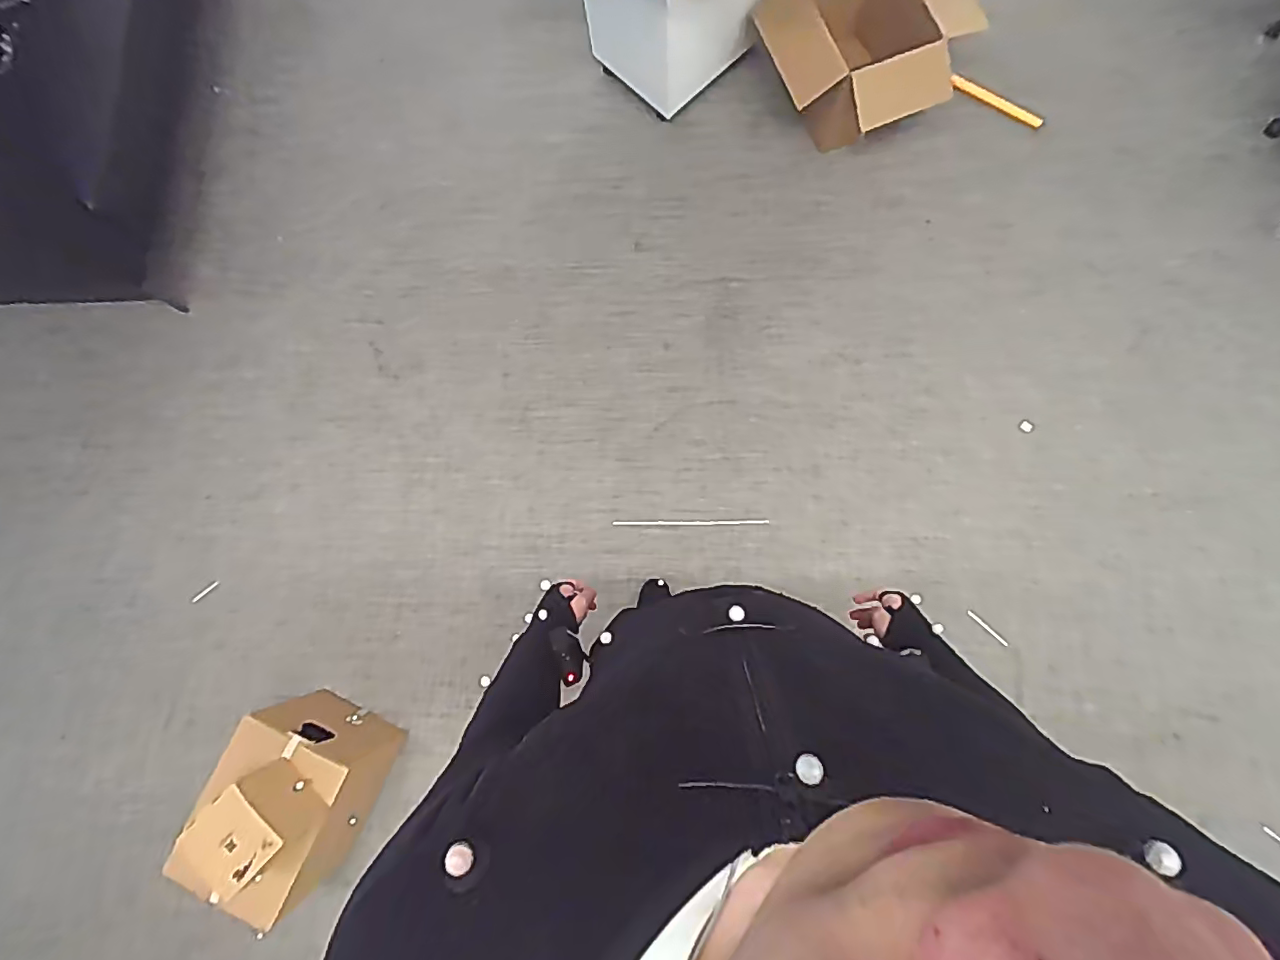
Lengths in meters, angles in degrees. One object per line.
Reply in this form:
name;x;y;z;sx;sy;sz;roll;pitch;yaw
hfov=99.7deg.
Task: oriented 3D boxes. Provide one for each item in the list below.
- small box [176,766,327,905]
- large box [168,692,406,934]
small box;-0.855;0.774;1.206;0.179;0.176;0.168;43;85;8
large box;-0.908;0.846;1.446;0.320;0.320;0.408;23;83;7
